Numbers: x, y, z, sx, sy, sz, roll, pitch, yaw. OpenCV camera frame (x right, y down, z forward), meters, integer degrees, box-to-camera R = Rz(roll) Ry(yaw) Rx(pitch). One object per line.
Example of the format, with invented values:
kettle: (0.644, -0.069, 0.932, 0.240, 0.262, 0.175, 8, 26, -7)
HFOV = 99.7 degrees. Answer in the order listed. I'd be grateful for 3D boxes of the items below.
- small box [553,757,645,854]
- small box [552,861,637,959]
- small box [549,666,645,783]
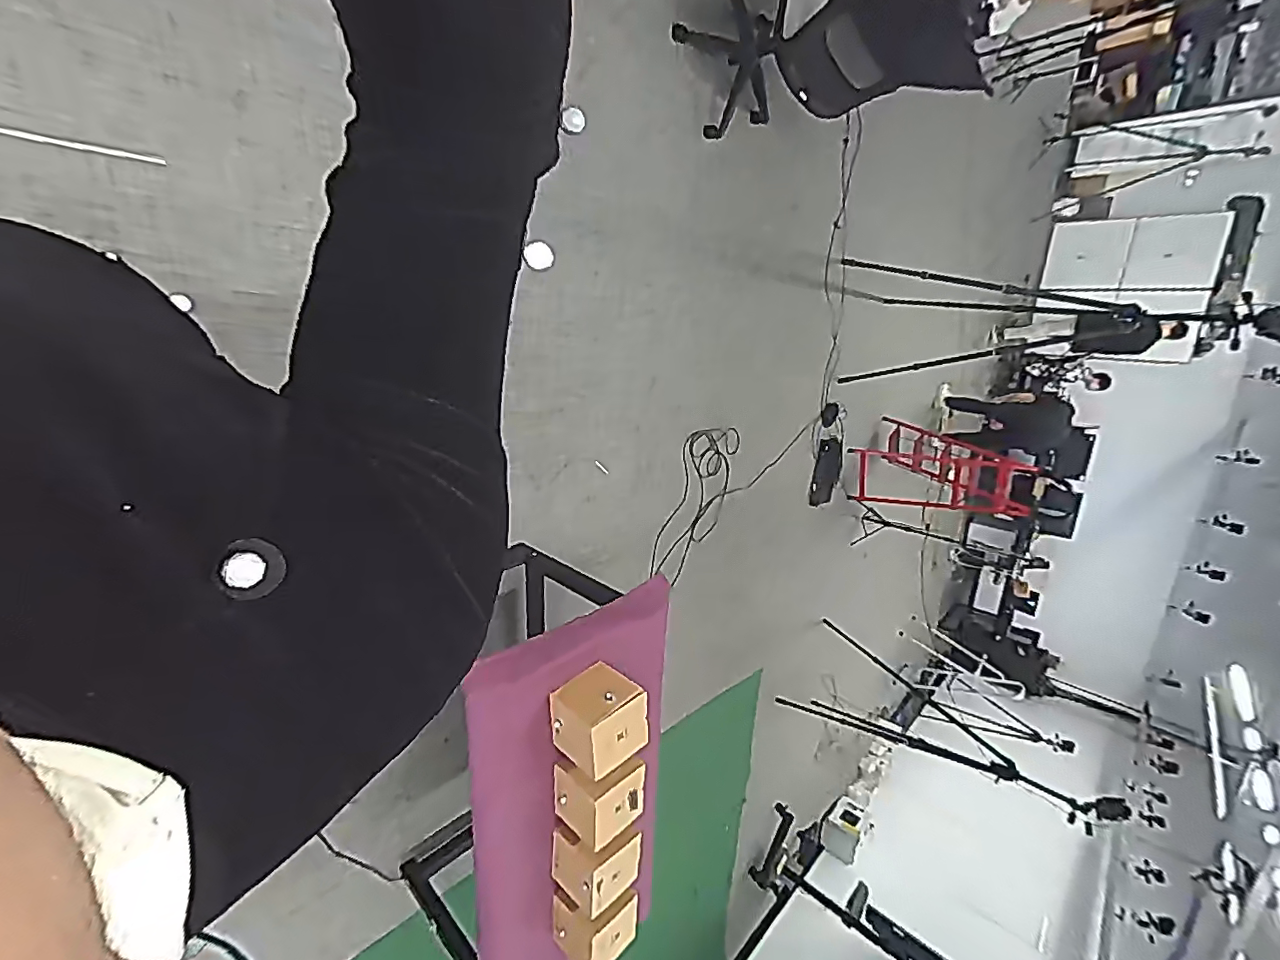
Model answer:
small box: (-0.109, 0.817, 1.425, 0.179, 0.176, 0.168, -14, 112, -43)
small box: (-0.130, 1.248, 1.543, 0.179, 0.176, 0.168, -12, 110, -44)
small box: (-0.107, 0.600, 1.357, 0.179, 0.176, 0.168, -20, 116, -41)
